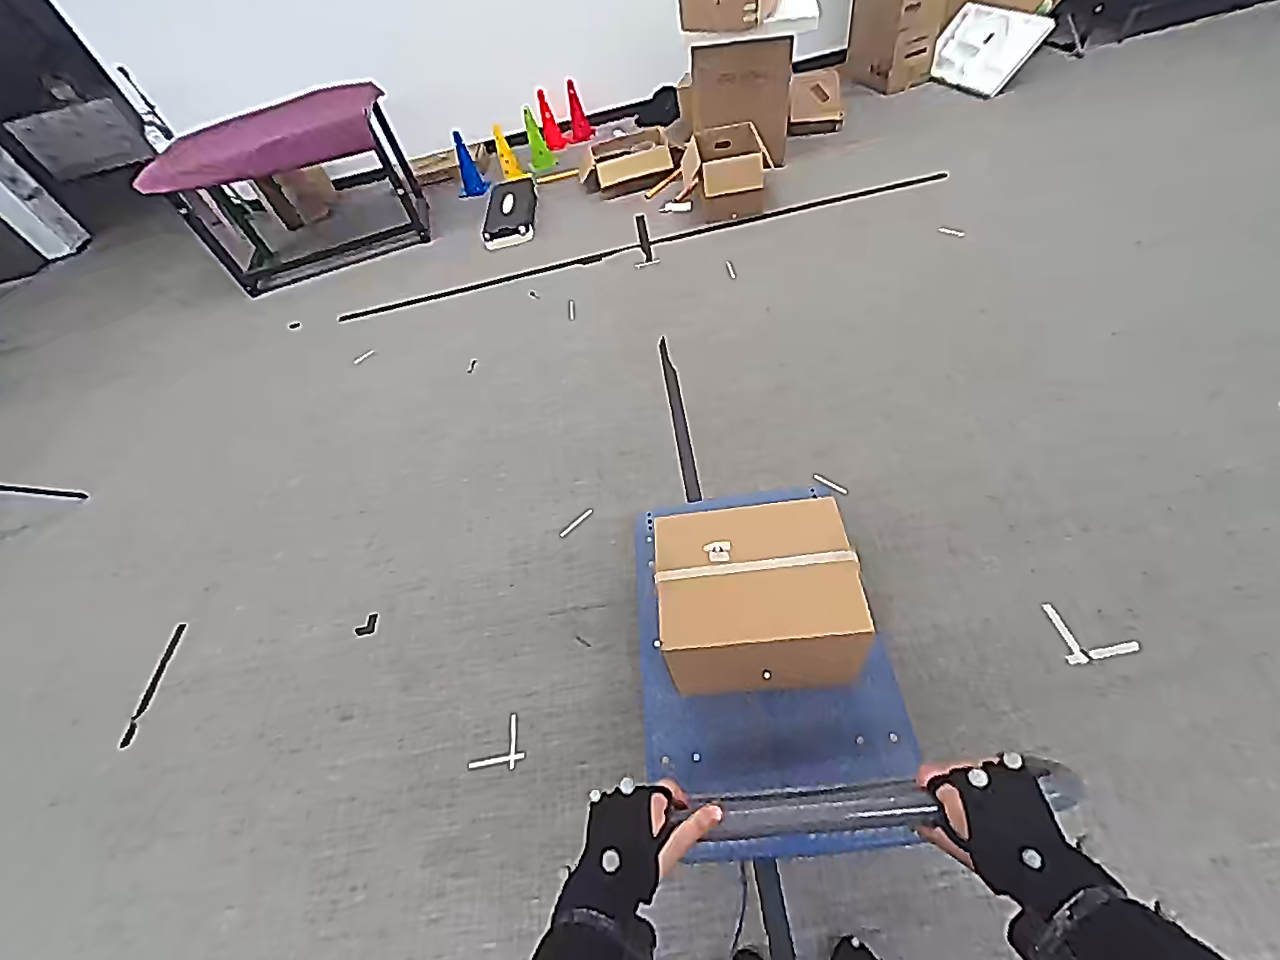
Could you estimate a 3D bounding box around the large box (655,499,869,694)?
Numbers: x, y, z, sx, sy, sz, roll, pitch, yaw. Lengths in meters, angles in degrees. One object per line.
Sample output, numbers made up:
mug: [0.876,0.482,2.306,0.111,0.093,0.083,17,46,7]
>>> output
large box: [0.264,0.280,1.248,0.408,0.320,0.320,-8,50,8]
